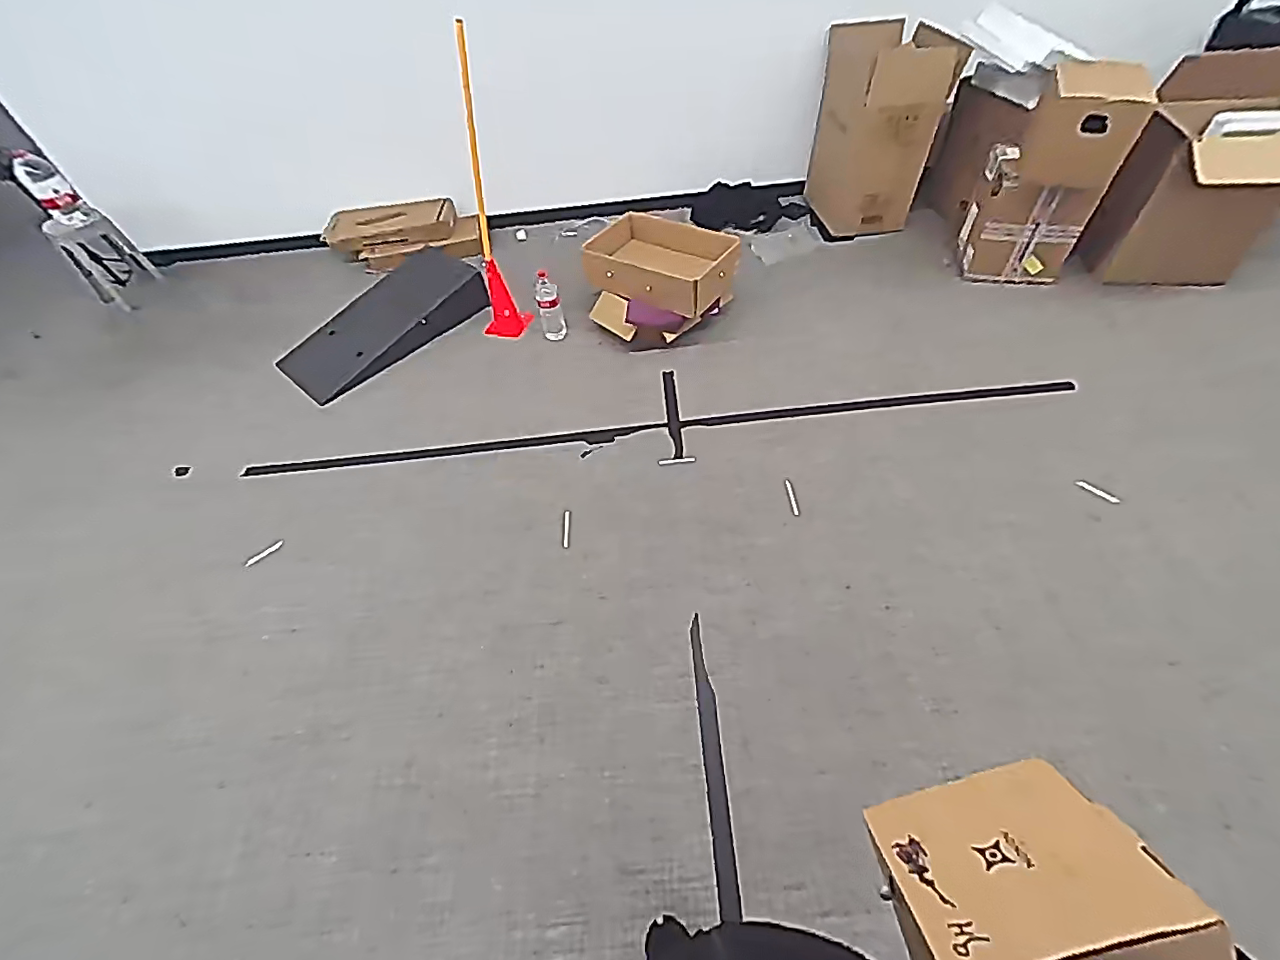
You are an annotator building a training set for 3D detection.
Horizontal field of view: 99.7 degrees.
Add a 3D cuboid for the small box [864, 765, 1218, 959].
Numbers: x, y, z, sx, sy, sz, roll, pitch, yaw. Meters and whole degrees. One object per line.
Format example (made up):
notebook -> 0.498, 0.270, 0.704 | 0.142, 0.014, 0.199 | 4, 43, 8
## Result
small box -> 0.318, 0.381, 0.445 | 0.179, 0.168, 0.176 | -19, 94, 4
